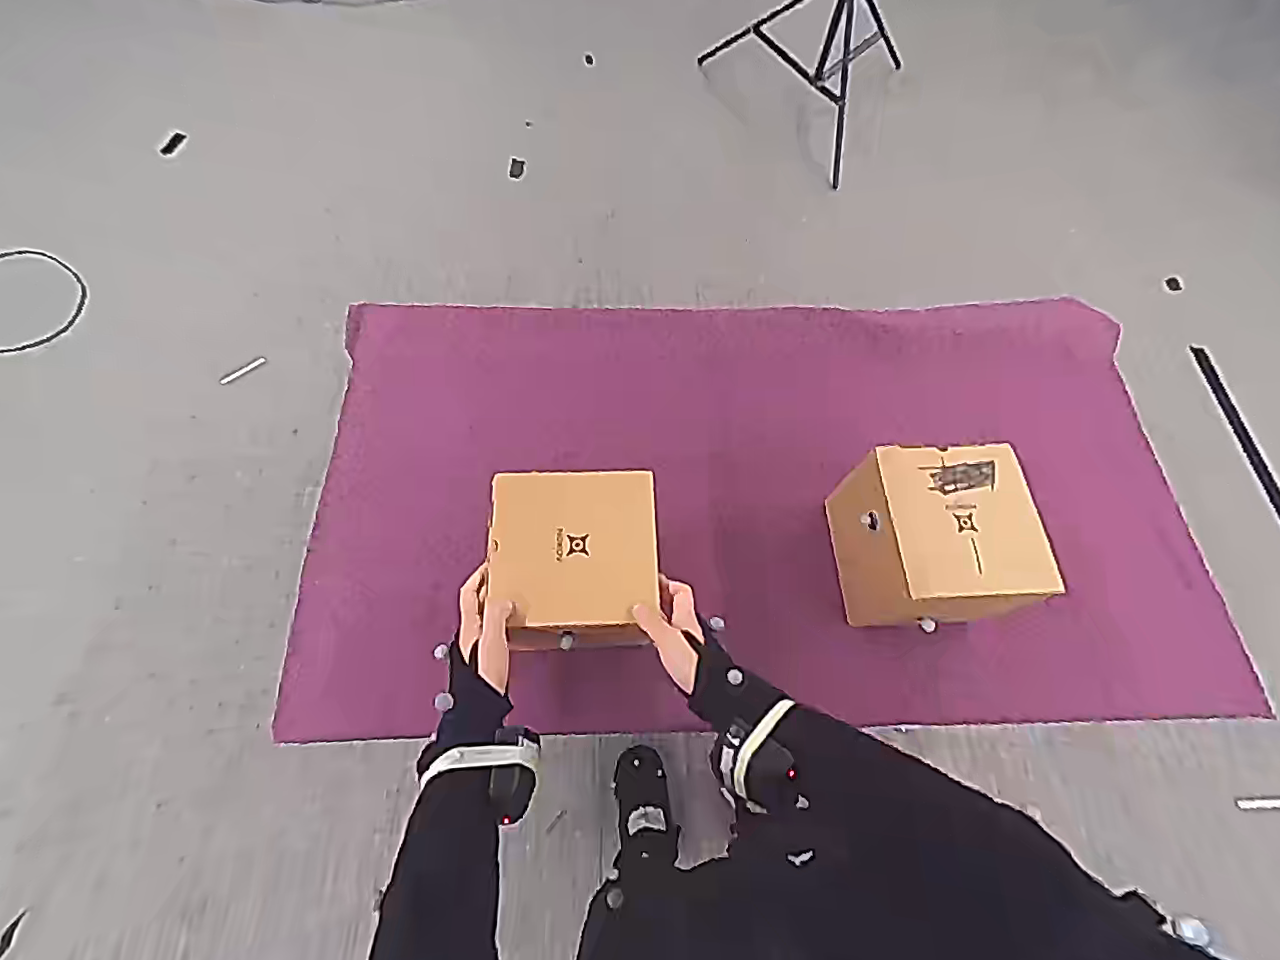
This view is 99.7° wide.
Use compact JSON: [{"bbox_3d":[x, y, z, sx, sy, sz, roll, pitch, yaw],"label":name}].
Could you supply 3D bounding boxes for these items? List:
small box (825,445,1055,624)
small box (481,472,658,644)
[{"bbox_3d":[0.344,0.072,0.663,0.168,0.176,0.179,-1,66,-3],"label":"small box"},{"bbox_3d":[-0.075,0.098,0.634,0.179,0.176,0.168,-2,67,-3],"label":"small box"}]
